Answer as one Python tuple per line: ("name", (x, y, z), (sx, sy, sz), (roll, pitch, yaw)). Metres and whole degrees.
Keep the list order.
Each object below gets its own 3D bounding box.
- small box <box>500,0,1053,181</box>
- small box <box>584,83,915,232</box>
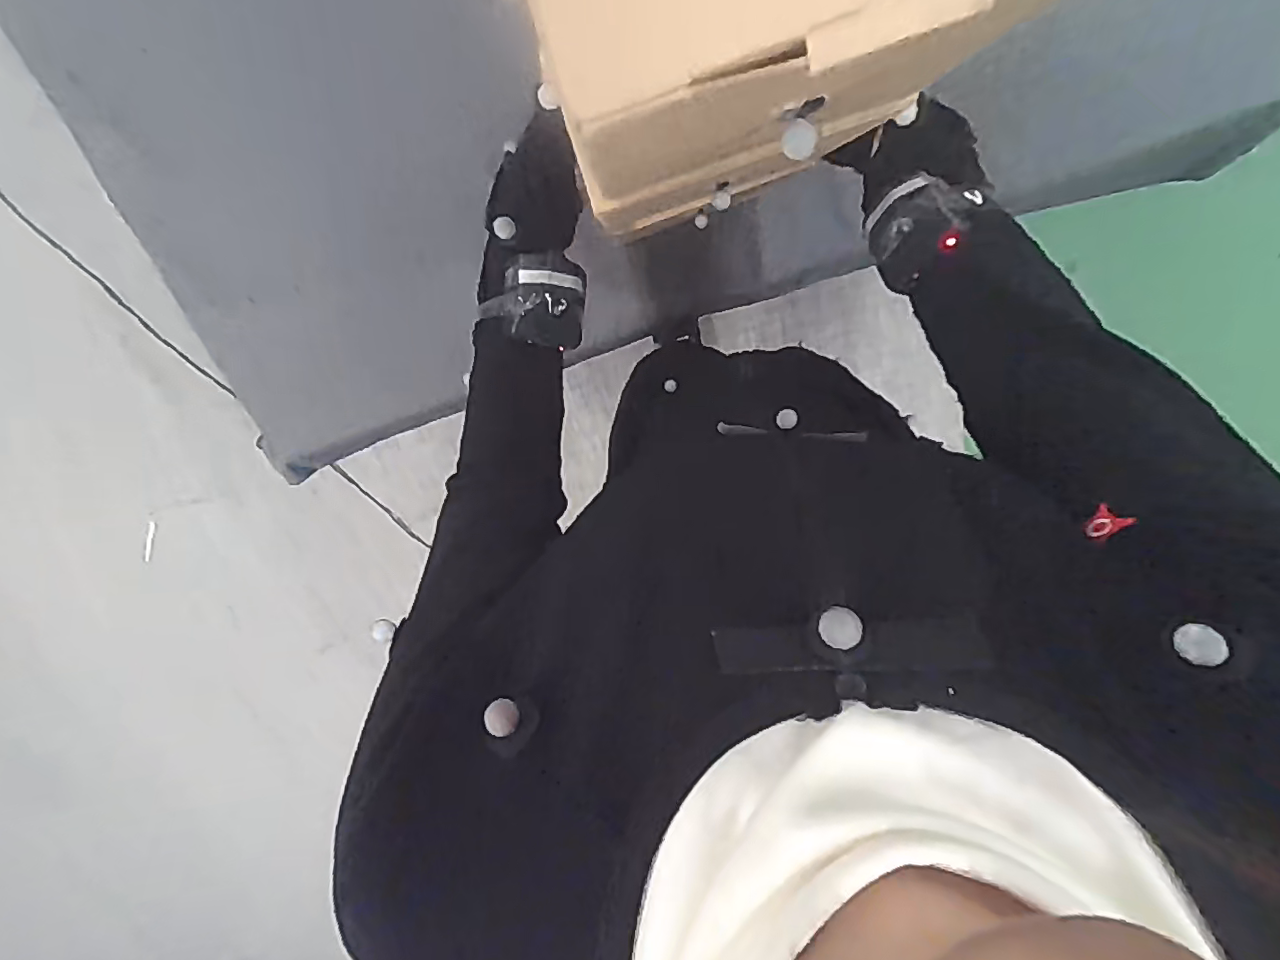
("small box", (0.030, -0.215, 0.175), (0.168, 0.176, 0.179), (-16, 112, 6))
("small box", (0.032, -0.267, 0.331), (0.179, 0.176, 0.168), (-19, 111, 6))
